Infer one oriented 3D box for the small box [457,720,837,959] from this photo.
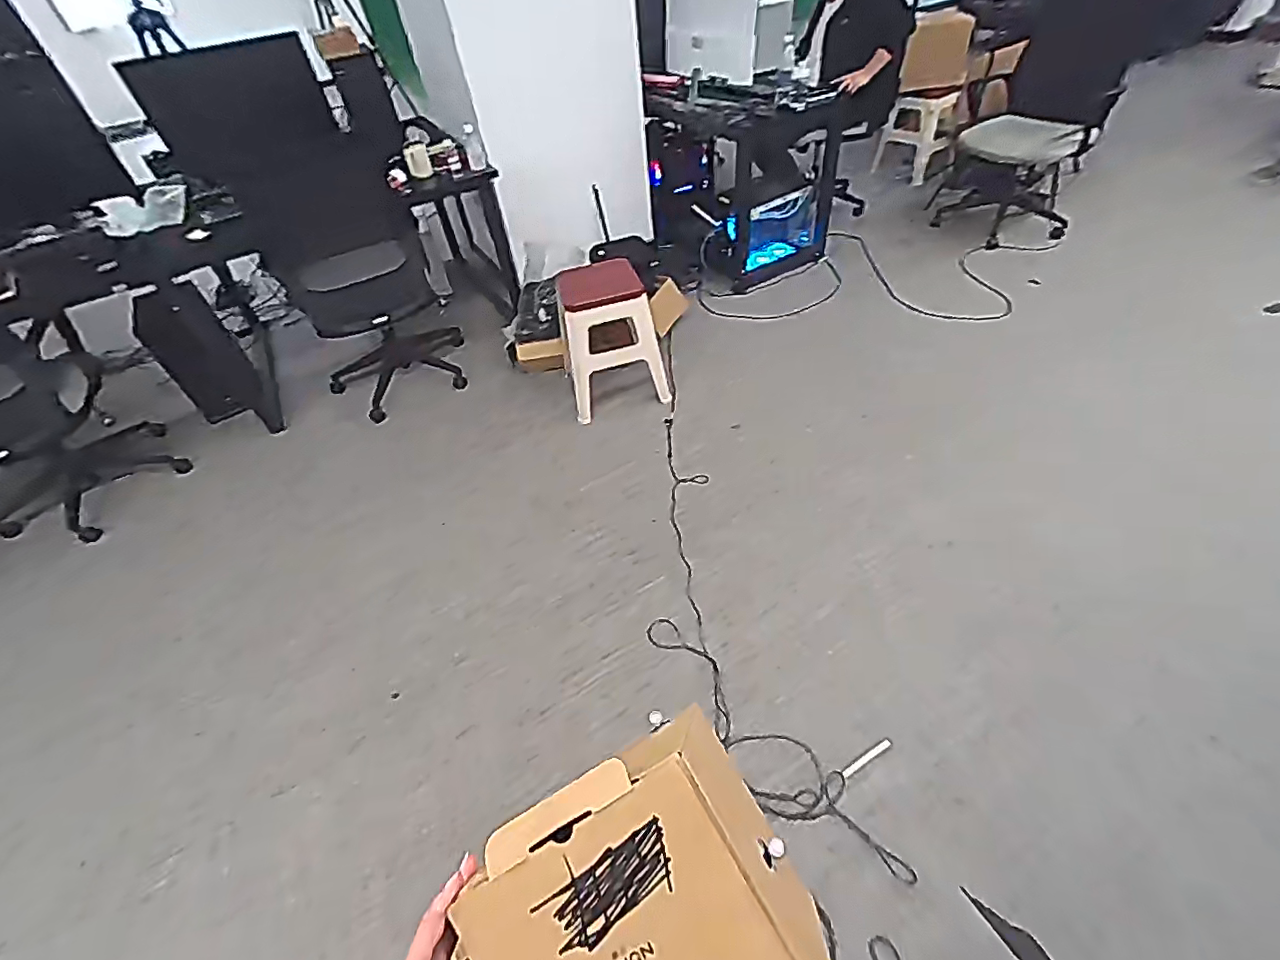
[{"bbox_3d":[0.016,0.287,0.366,0.168,0.176,0.179,-33,75,2],"label":"small box"}]
